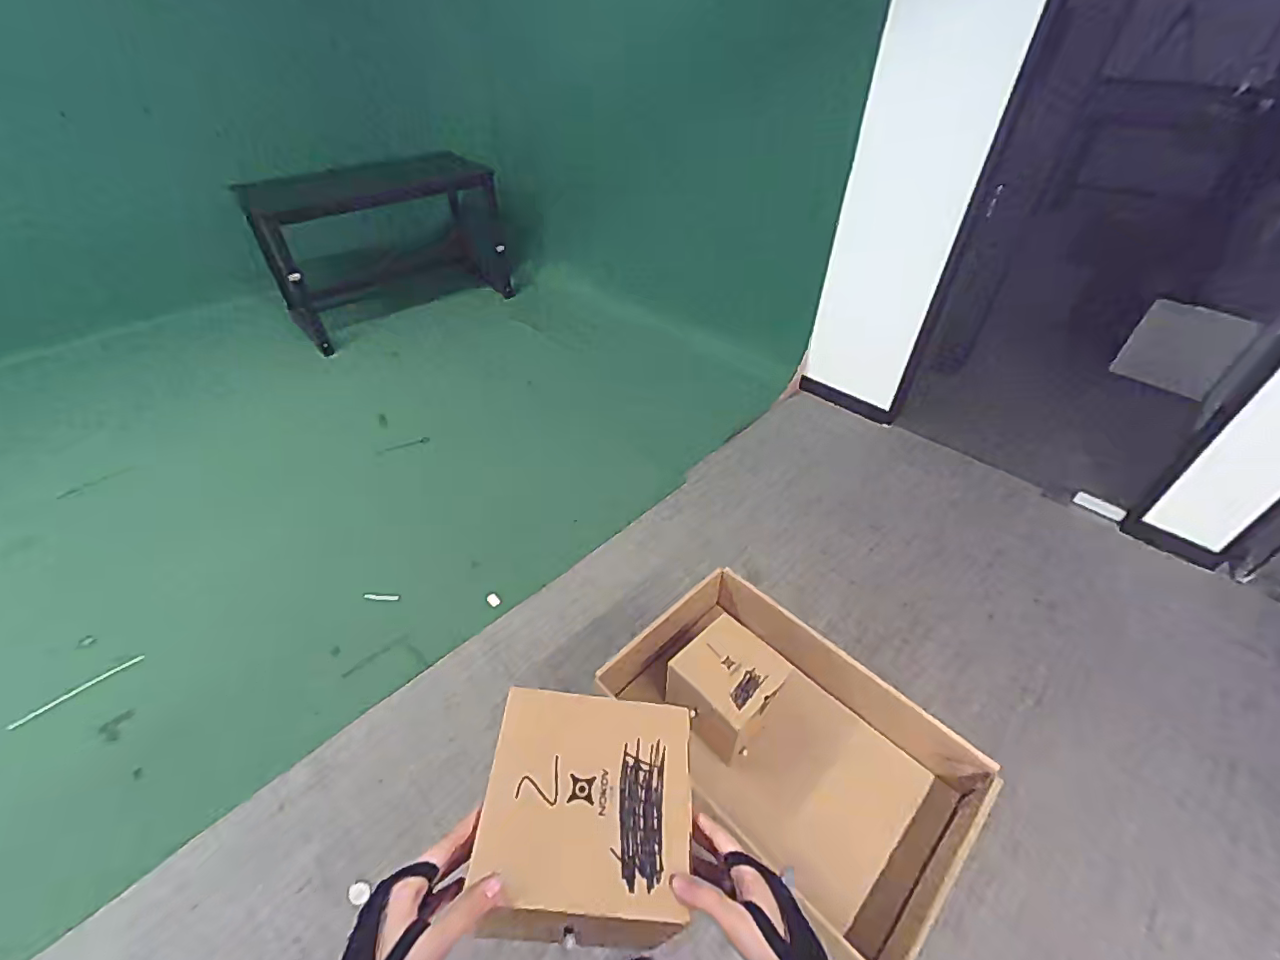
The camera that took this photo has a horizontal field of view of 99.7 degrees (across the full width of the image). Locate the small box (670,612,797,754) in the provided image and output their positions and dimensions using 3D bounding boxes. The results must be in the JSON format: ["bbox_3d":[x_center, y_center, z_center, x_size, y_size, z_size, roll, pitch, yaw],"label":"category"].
[{"bbox_3d":[0.175,0.403,1.057,0.168,0.176,0.179,-32,51,-30],"label":"small box"}]
